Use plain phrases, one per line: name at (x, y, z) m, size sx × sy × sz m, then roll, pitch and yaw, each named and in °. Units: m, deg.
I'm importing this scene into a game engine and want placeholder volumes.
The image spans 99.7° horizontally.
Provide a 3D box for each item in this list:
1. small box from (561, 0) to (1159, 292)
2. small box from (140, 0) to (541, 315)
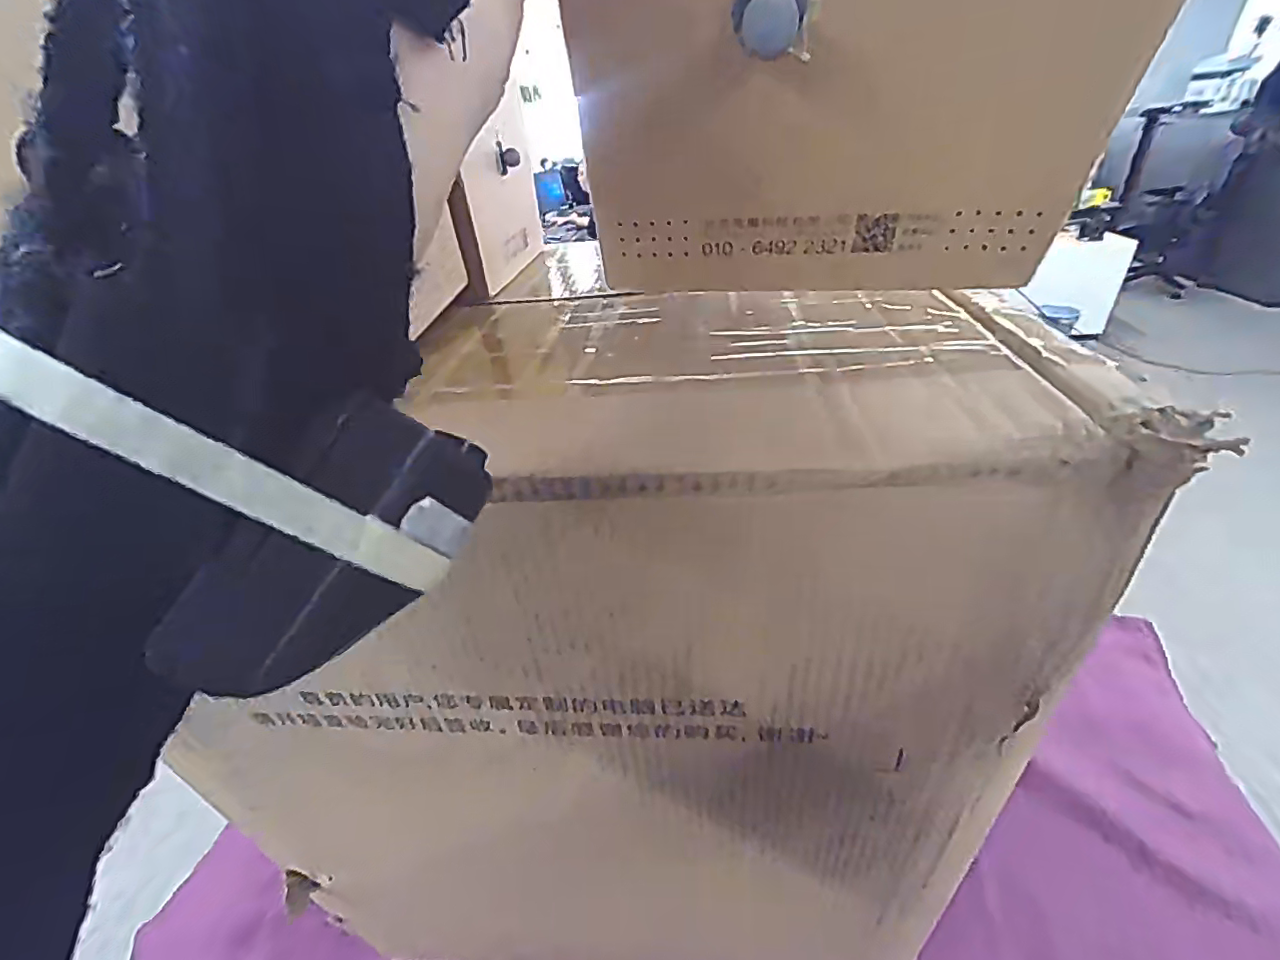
small box at (0.070, -0.188, 0.203) m, size 0.168 × 0.176 × 0.179 m, roll 2°, pitch 54°, yaw 10°
small box at (-0.183, -0.230, 0.403) m, size 0.179 × 0.176 × 0.168 m, roll -1°, pitch 34°, yaw 6°
